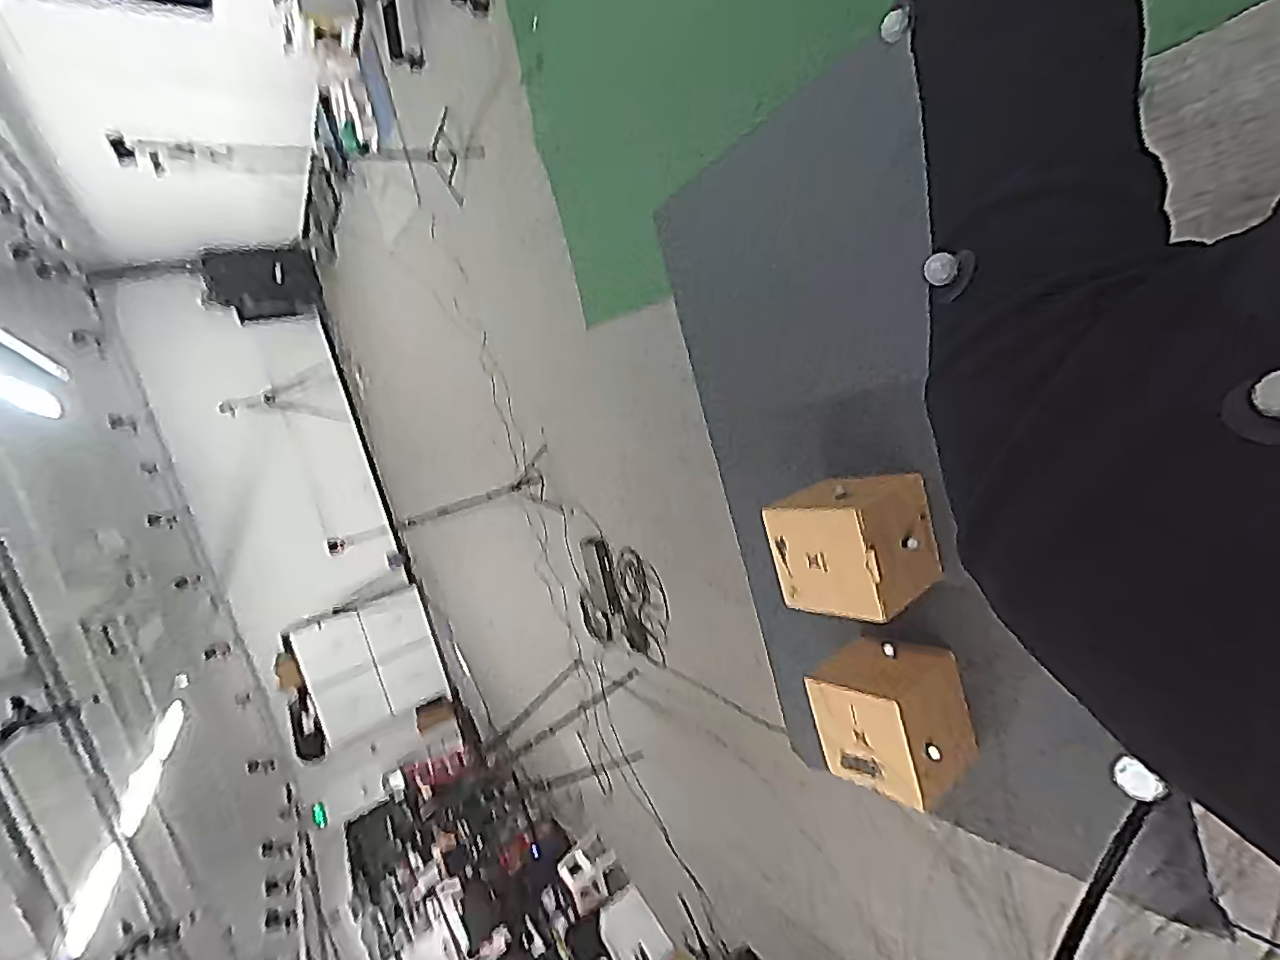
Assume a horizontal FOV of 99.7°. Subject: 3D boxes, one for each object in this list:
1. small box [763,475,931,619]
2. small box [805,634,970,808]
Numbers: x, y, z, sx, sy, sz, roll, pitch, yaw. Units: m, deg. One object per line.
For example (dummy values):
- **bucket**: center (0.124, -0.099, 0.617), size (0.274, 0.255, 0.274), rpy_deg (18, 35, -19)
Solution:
- **small box**: center (0.327, 0.095, 0.844), size (0.179, 0.176, 0.168), rpy_deg (-6, 102, 55)
- **small box**: center (0.404, 0.376, 0.880), size (0.168, 0.176, 0.179), rpy_deg (-9, 98, 56)
